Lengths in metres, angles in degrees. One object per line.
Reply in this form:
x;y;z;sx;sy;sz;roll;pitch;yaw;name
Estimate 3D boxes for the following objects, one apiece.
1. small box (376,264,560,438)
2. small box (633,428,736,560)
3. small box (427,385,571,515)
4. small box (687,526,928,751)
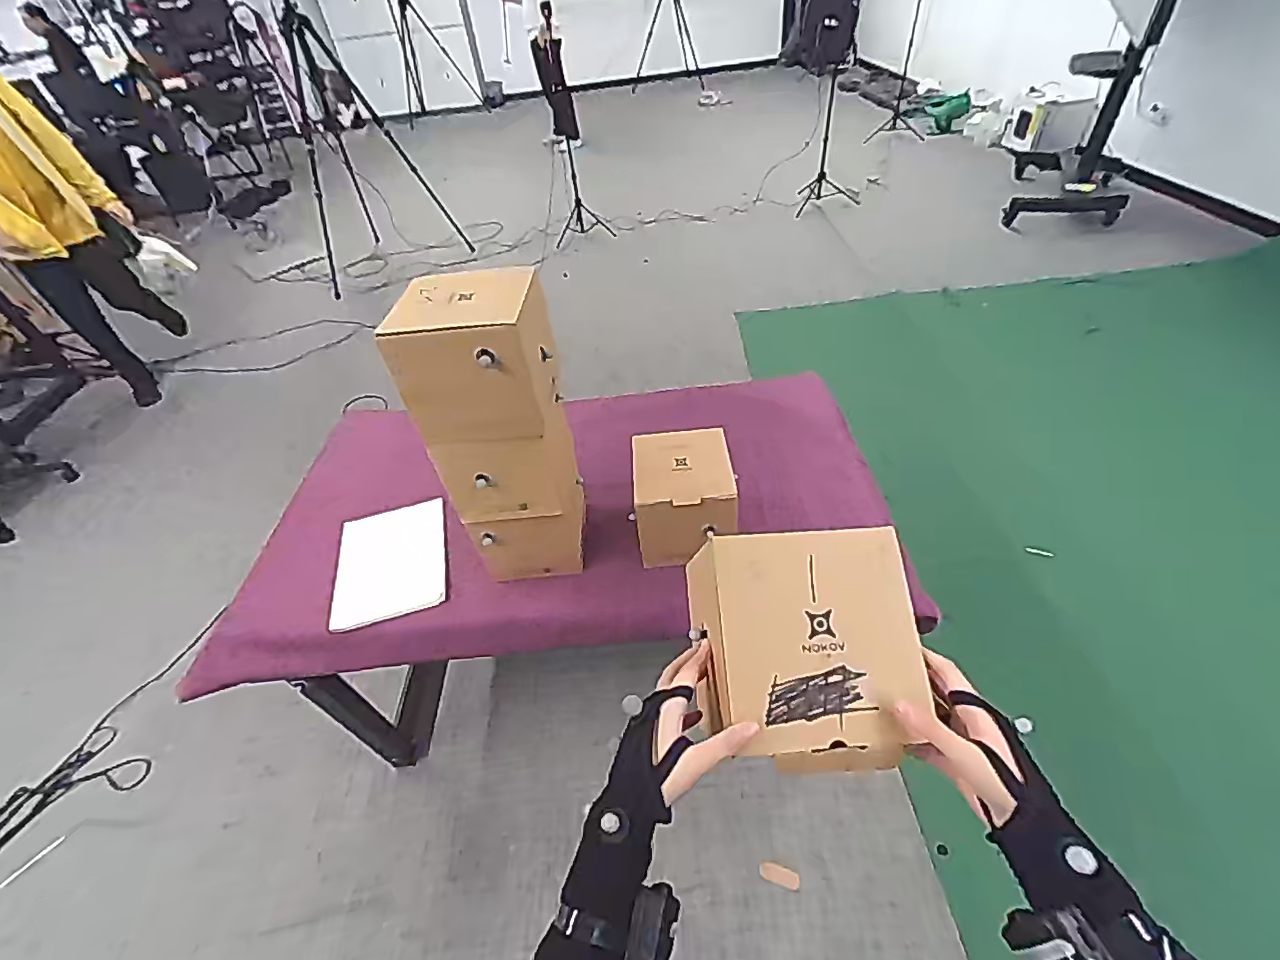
-0.214;-0.173;0.736;0.179;0.176;0.168;-3;43;5;small box
0.077;0.031;0.962;0.168;0.176;0.179;-4;43;2;small box
-0.207;-0.058;0.855;0.168;0.176;0.179;-5;43;3;small box
0.140;0.149;0.523;0.168;0.176;0.179;-2;71;-4;small box
